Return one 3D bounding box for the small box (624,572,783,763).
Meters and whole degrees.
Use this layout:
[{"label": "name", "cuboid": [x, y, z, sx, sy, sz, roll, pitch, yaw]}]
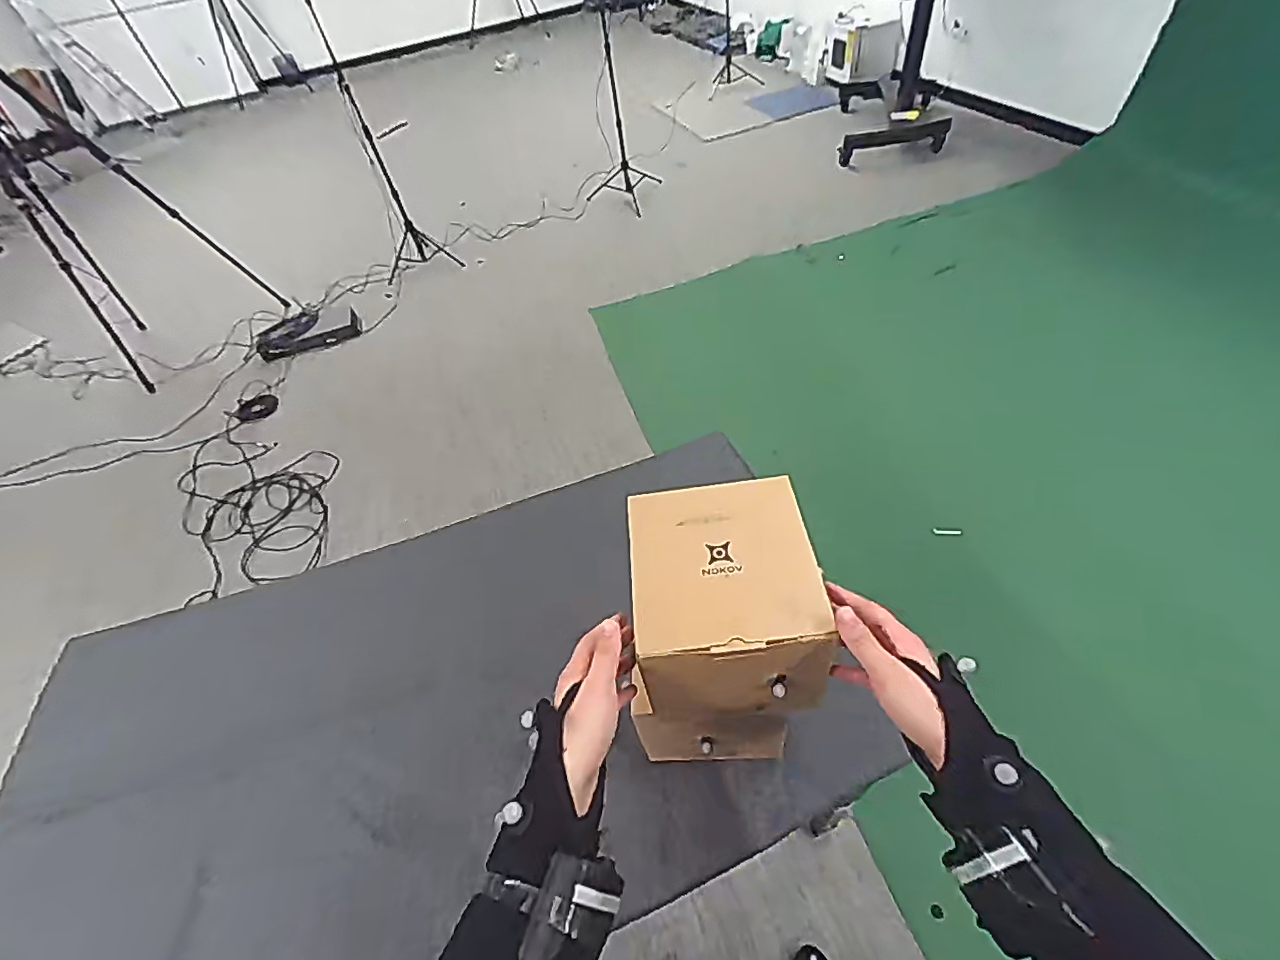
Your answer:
[{"label": "small box", "cuboid": [0.078, 0.234, 0.660, 0.168, 0.176, 0.179, -5, 47, 6]}]
